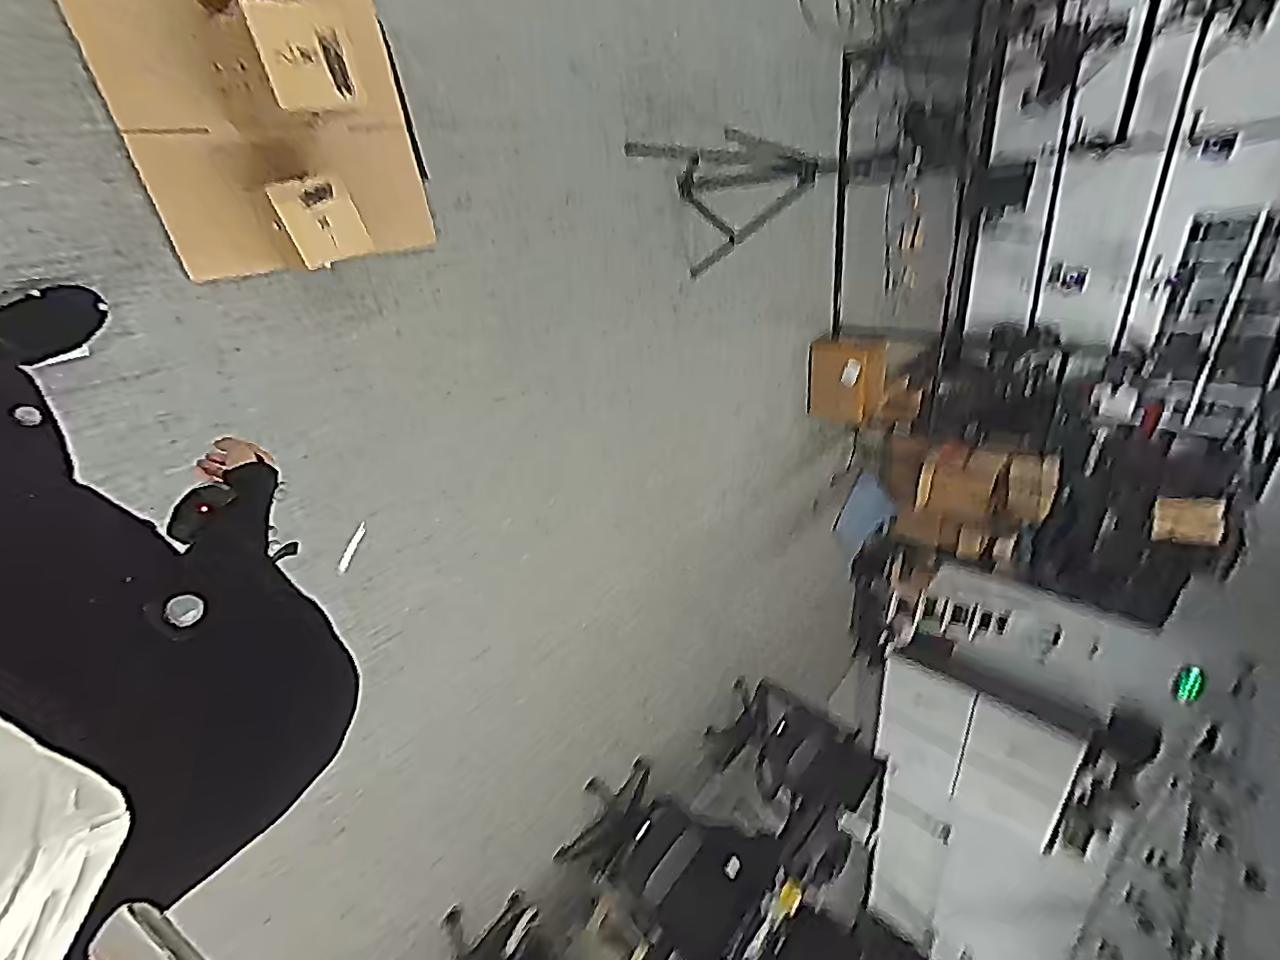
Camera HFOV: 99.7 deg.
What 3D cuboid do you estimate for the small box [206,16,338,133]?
[{"bbox_3d":[-0.792,-0.861,1.168,0.179,0.176,0.168,-26,122,-38],"label":"small box"}]

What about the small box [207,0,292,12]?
[{"bbox_3d":[-0.804,-1.071,1.075,0.179,0.176,0.168,-27,122,-37],"label":"small box"}]

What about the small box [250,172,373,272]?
[{"bbox_3d":[-0.777,-0.605,1.278,0.168,0.176,0.179,-38,129,-31],"label":"small box"}]
